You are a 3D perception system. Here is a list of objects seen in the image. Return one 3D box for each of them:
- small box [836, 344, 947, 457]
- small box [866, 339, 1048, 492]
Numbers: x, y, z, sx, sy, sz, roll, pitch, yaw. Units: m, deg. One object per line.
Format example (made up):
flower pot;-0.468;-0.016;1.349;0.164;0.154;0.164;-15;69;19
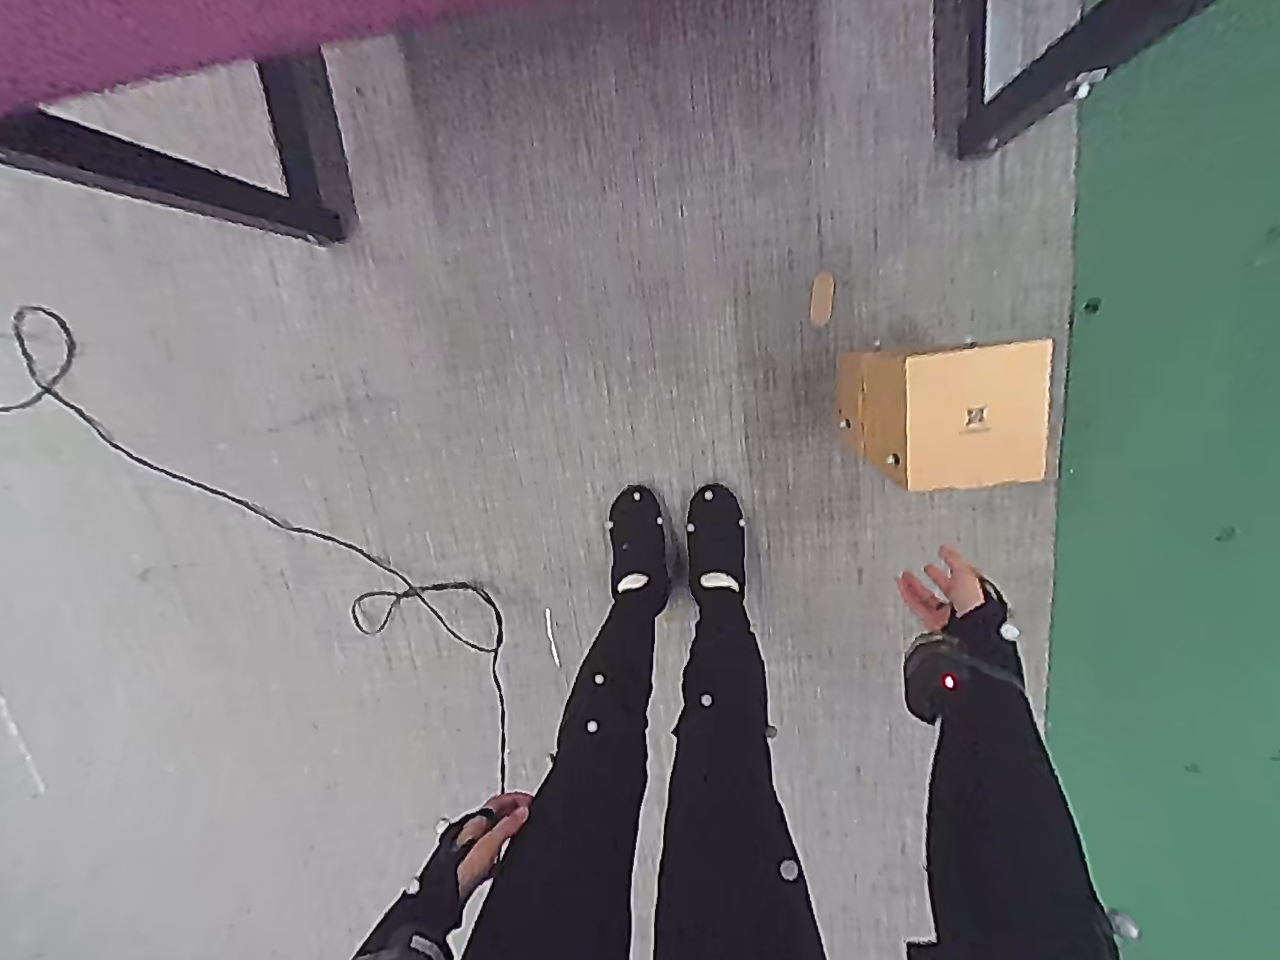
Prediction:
small box;0.431;-0.136;0.900;0.179;0.176;0.168;-3;104;7
small box;0.419;-0.094;0.744;0.168;0.176;0.179;-6;105;8
